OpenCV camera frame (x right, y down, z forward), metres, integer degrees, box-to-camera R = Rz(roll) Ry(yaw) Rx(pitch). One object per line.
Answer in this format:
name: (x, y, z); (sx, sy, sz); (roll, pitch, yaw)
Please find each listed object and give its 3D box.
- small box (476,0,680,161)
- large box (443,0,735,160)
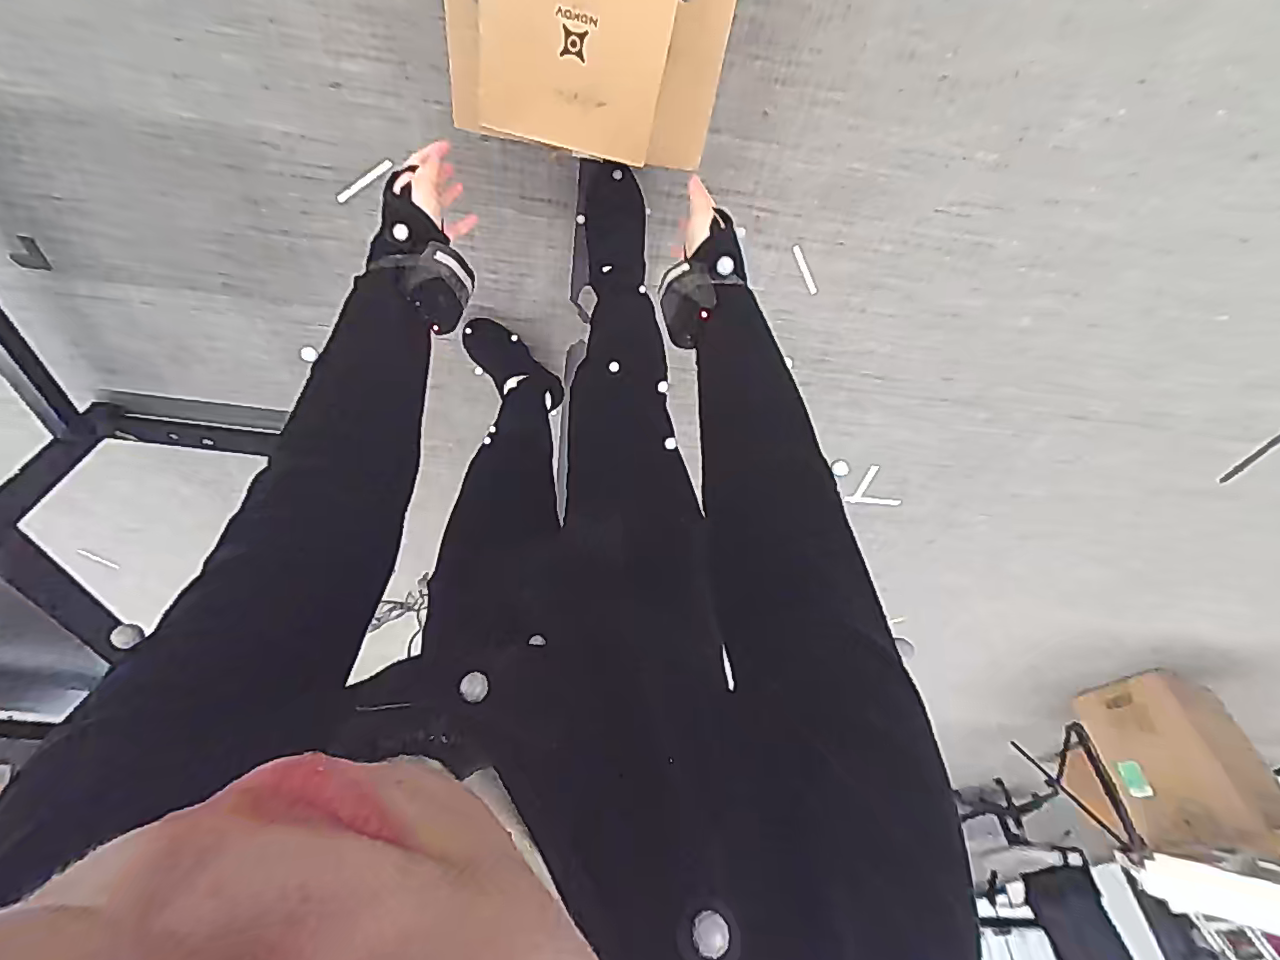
small box: (-0.053, -0.444, 0.515); (0.168, 0.176, 0.179); (10, 136, -8)
large box: (-0.044, -0.664, 0.638); (0.320, 0.320, 0.408); (6, 136, -7)
